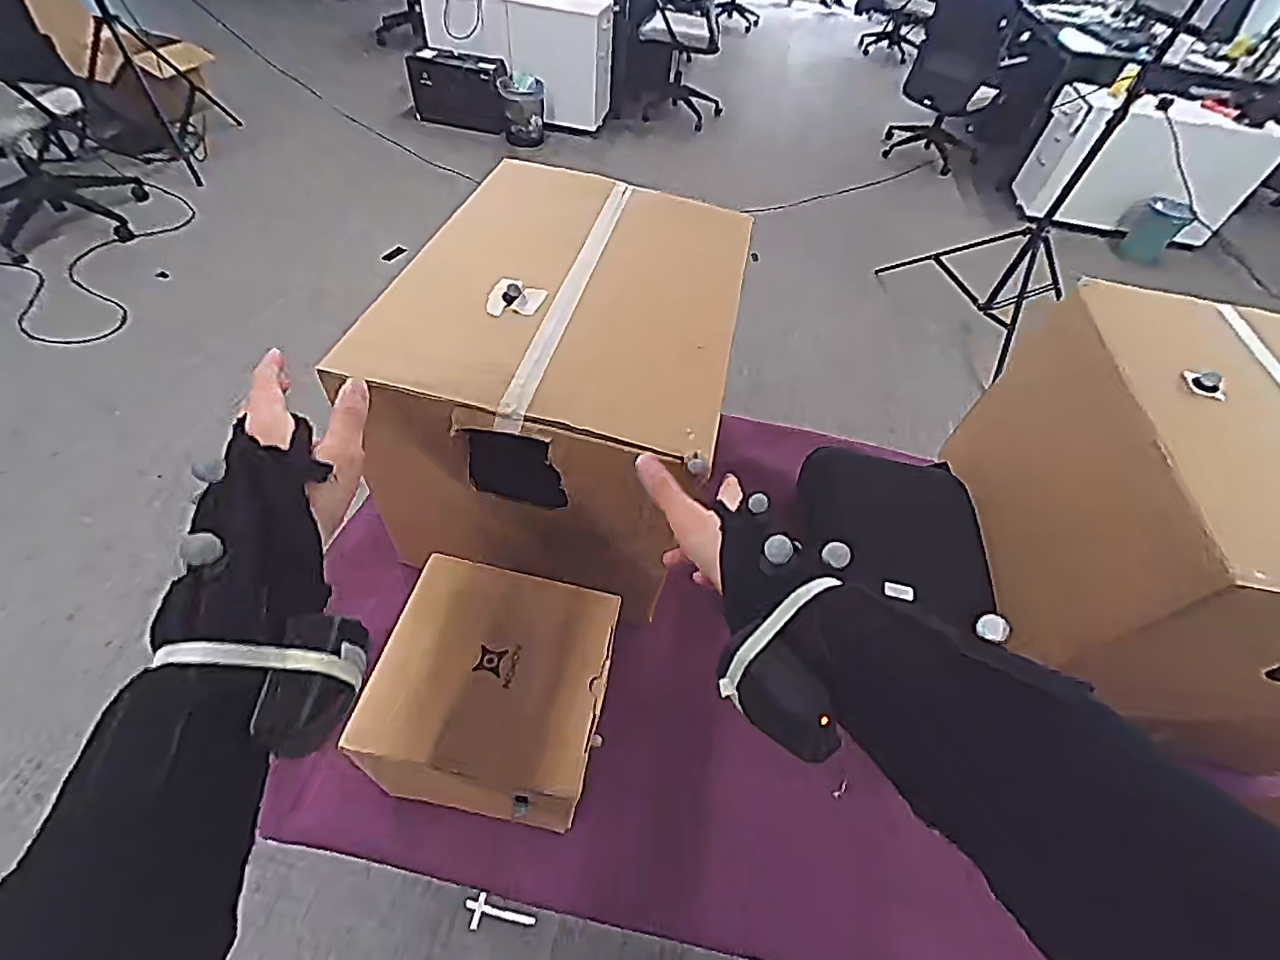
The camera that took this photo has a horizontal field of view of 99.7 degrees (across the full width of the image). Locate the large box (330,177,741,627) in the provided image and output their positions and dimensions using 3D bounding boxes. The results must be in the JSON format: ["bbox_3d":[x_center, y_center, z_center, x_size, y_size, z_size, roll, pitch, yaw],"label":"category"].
[{"bbox_3d":[-0.081,-0.094,0.658,0.320,0.320,0.408,13,53,2],"label":"large box"}]
